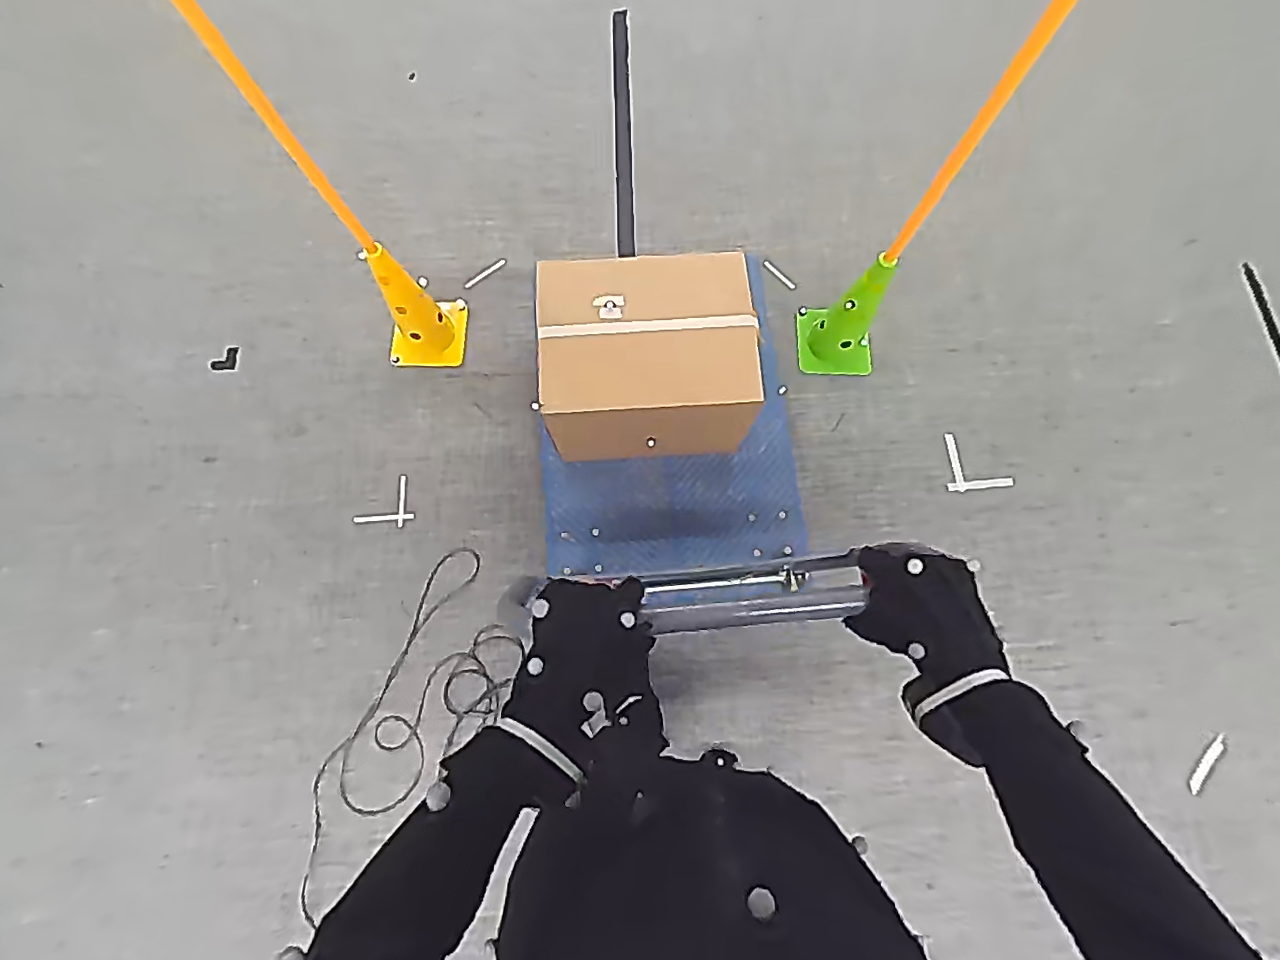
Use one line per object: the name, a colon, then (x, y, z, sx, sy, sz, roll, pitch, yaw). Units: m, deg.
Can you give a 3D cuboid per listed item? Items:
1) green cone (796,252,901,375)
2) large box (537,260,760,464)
green cone: (0.545, -0.434, 1.358, 0.202, 0.368, 0.200, 2, 75, -1)
large box: (0.012, -0.230, 1.155, 0.408, 0.320, 0.320, -4, 75, 0)
